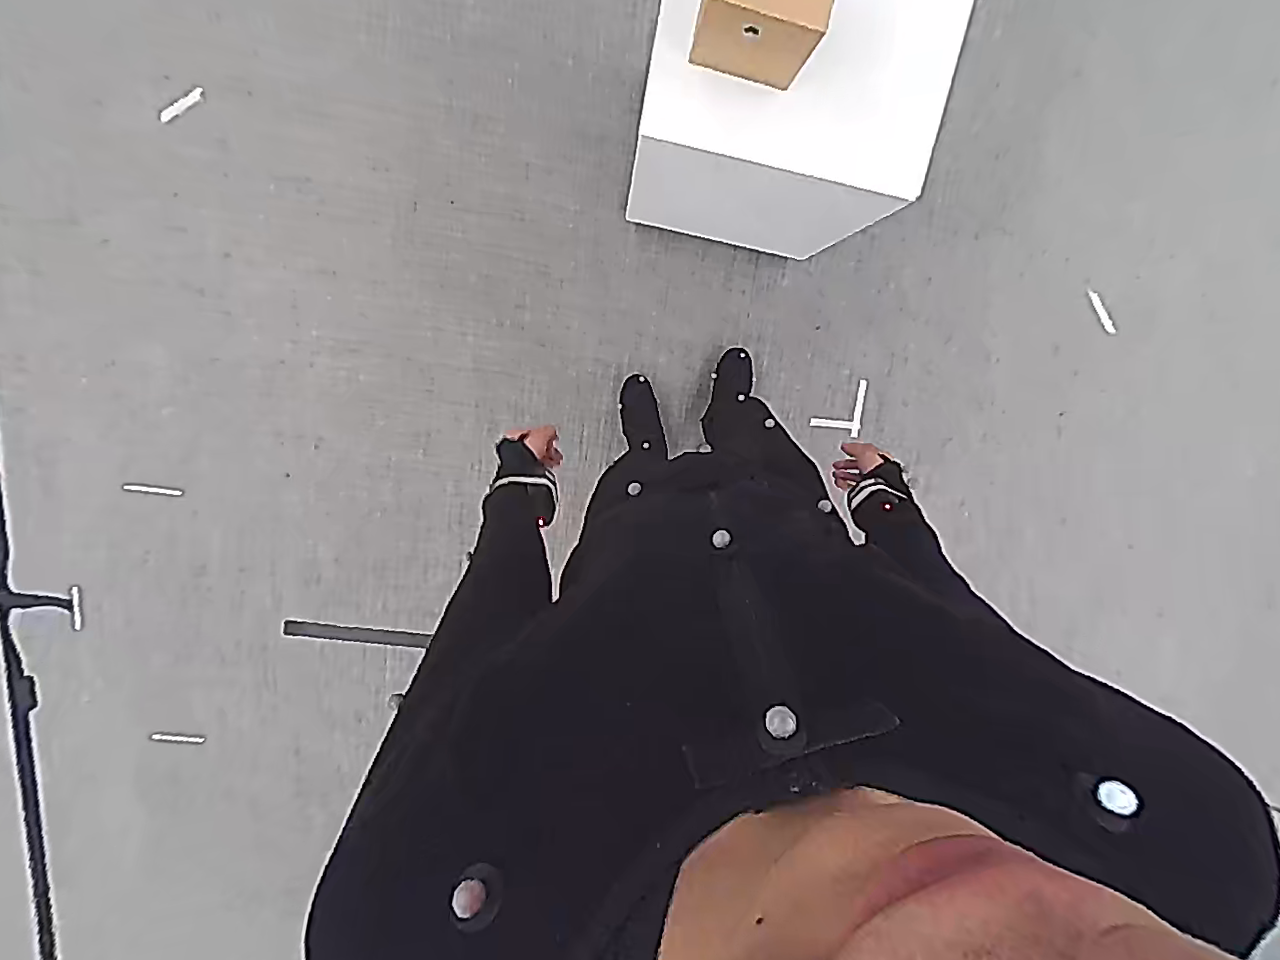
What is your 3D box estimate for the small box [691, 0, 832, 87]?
[{"bbox_3d":[0.185,-0.735,0.813,0.179,0.176,0.168,11,101,-8],"label":"small box"}]
